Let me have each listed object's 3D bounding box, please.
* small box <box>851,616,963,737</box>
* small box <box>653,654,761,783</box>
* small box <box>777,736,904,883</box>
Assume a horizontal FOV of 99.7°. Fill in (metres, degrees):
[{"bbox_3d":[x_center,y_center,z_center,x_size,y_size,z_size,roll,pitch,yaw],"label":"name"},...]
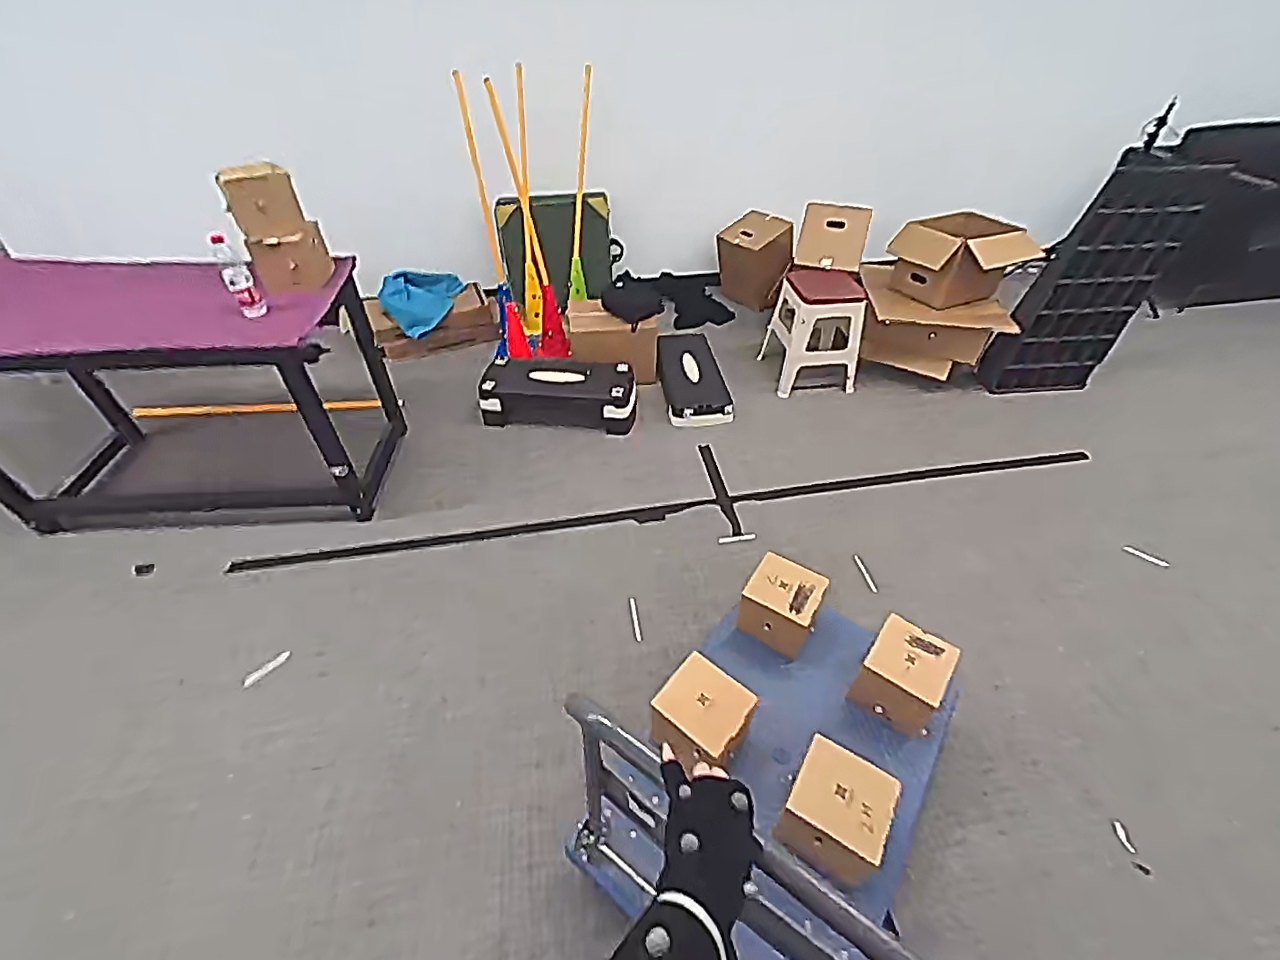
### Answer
[{"bbox_3d":[0.626,0.467,1.285,0.168,0.176,0.179,29,51,27],"label":"small box"},{"bbox_3d":[0.143,0.536,1.212,0.179,0.176,0.168,31,51,27],"label":"small box"},{"bbox_3d":[0.393,0.660,1.079,0.179,0.176,0.168,25,49,24],"label":"small box"}]
